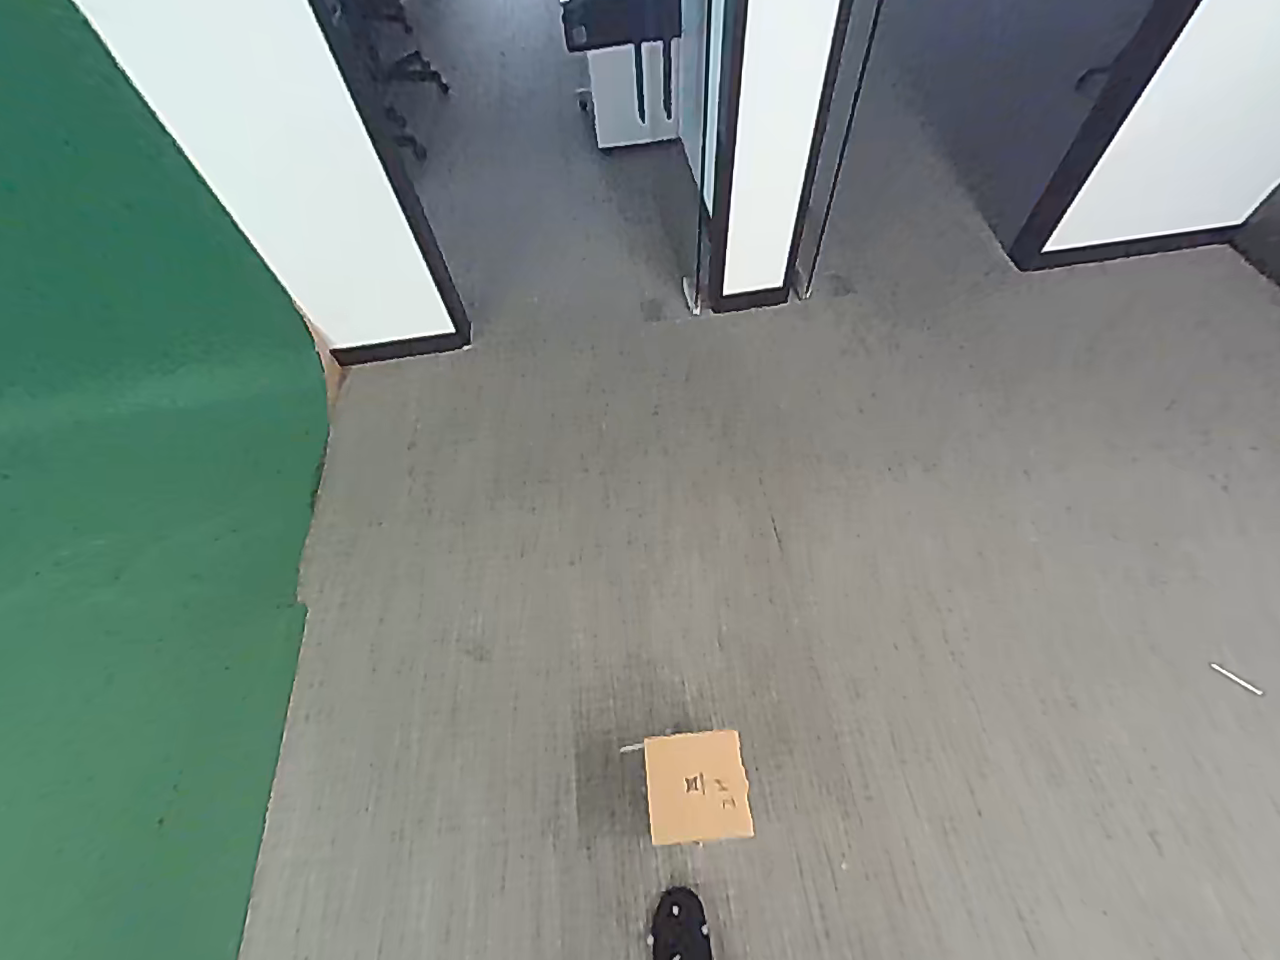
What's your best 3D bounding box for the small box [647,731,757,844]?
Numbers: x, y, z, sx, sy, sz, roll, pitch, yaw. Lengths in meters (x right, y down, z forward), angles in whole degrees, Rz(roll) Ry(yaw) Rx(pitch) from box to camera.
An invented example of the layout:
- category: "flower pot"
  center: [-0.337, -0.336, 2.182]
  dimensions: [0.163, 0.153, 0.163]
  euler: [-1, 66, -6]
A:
- category: "small box"
  center: [0.112, 0.577, 1.013]
  dimensions: [0.179, 0.176, 0.168]
  euler: [-6, 58, 1]
